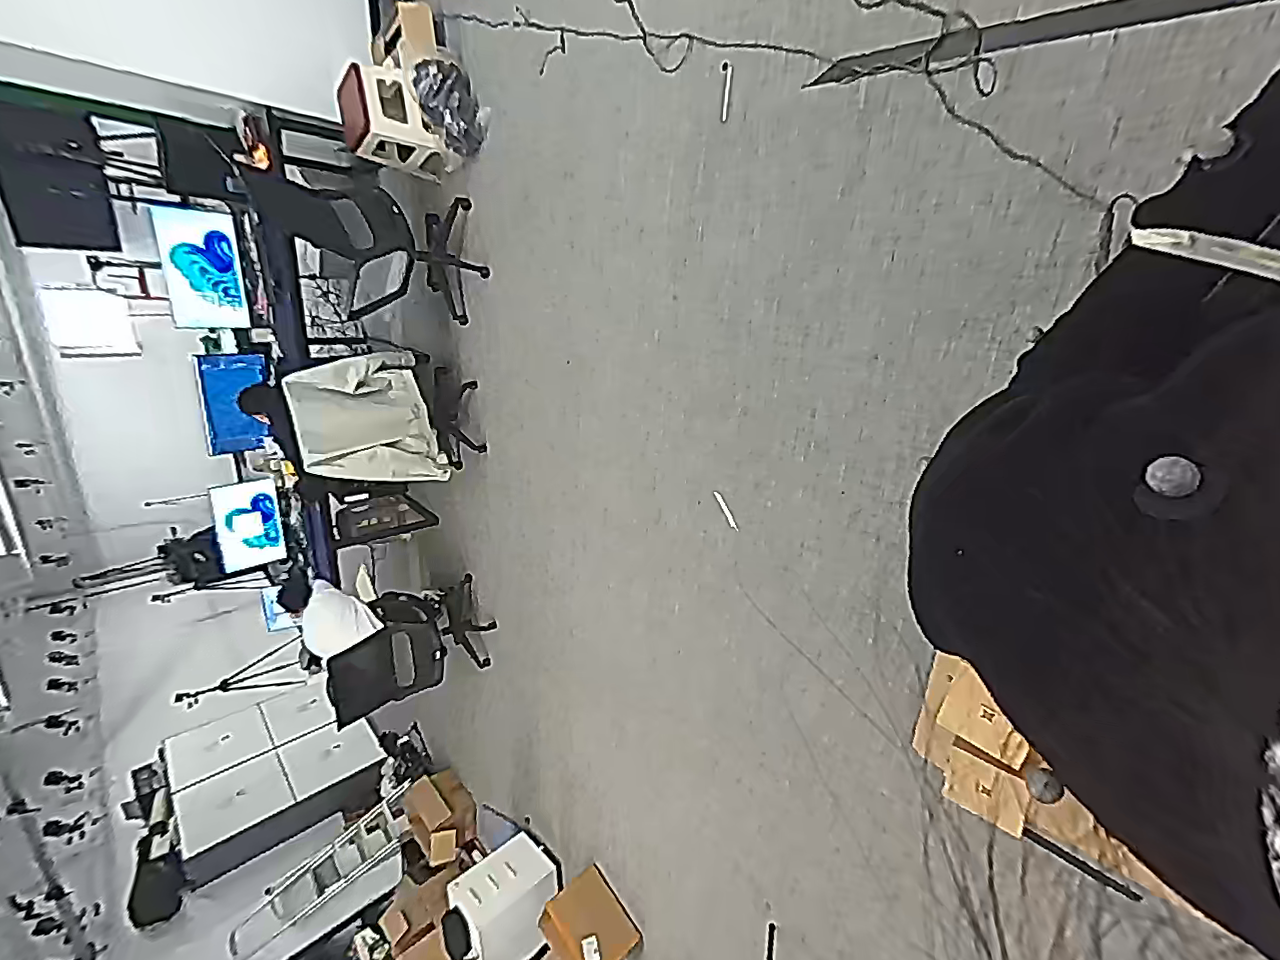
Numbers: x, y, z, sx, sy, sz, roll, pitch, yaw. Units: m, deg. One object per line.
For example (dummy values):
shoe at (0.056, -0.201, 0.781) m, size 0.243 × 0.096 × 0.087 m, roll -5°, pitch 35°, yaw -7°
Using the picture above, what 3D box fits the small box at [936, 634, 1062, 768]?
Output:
small box at (0.782, 0.469, 1.175) m, size 0.168 × 0.176 × 0.179 m, roll 26°, pitch 118°, yaw 40°

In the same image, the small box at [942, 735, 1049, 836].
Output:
small box at (0.899, 0.737, 1.369) m, size 0.179 × 0.176 × 0.168 m, roll 16°, pitch 113°, yaw 44°
